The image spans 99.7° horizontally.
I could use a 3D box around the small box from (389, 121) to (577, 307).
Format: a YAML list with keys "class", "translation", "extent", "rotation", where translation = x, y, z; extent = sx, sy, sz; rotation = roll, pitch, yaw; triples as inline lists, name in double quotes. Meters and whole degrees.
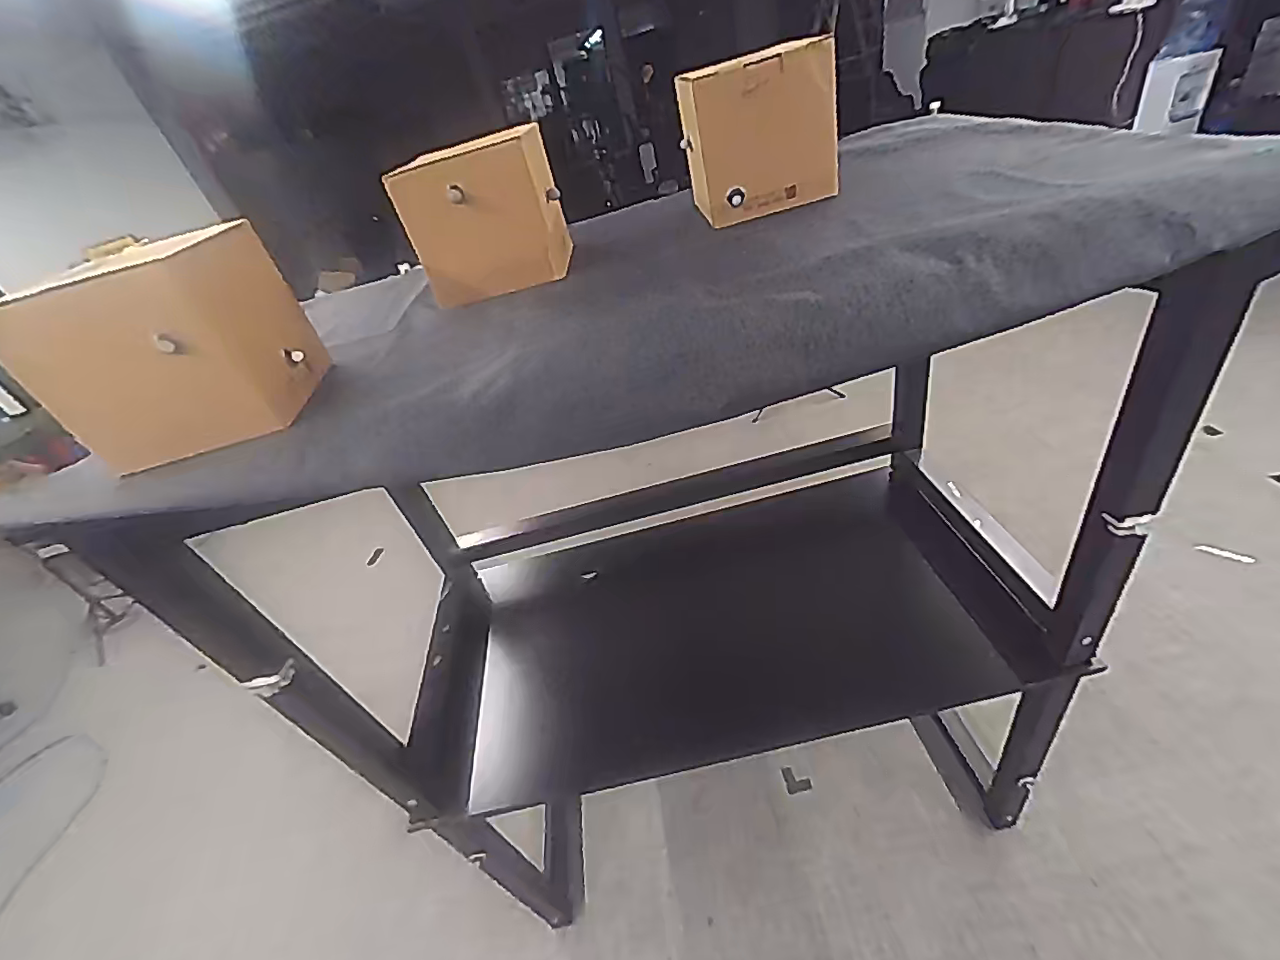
- class: "small box"
  translation: [-0.193, -0.357, 0.731]
  extent: [0.179, 0.176, 0.168]
  rotation: [-12, 37, 8]

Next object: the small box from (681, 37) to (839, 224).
- class: "small box"
  translation: [0.159, -0.460, 0.724]
  extent: [0.168, 0.176, 0.179]
  rotation: [-13, 36, 6]
